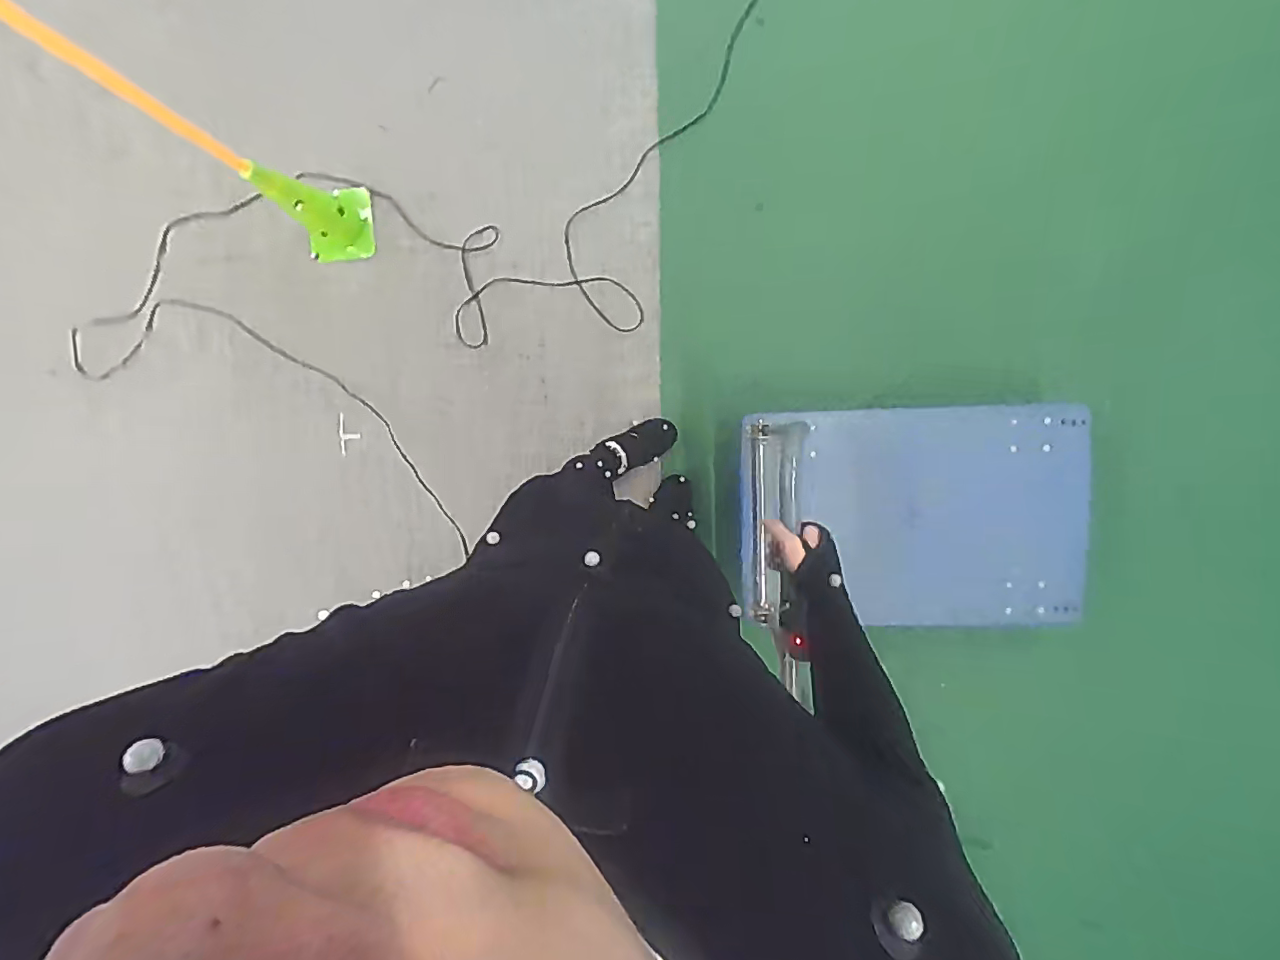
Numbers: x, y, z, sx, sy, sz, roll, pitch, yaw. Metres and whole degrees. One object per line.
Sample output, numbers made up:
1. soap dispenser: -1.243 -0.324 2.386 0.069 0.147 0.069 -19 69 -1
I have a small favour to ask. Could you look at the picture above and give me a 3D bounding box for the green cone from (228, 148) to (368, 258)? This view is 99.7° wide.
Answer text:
1. green cone: -0.913 -0.752 1.421 0.200 0.368 0.202 -4 93 4
